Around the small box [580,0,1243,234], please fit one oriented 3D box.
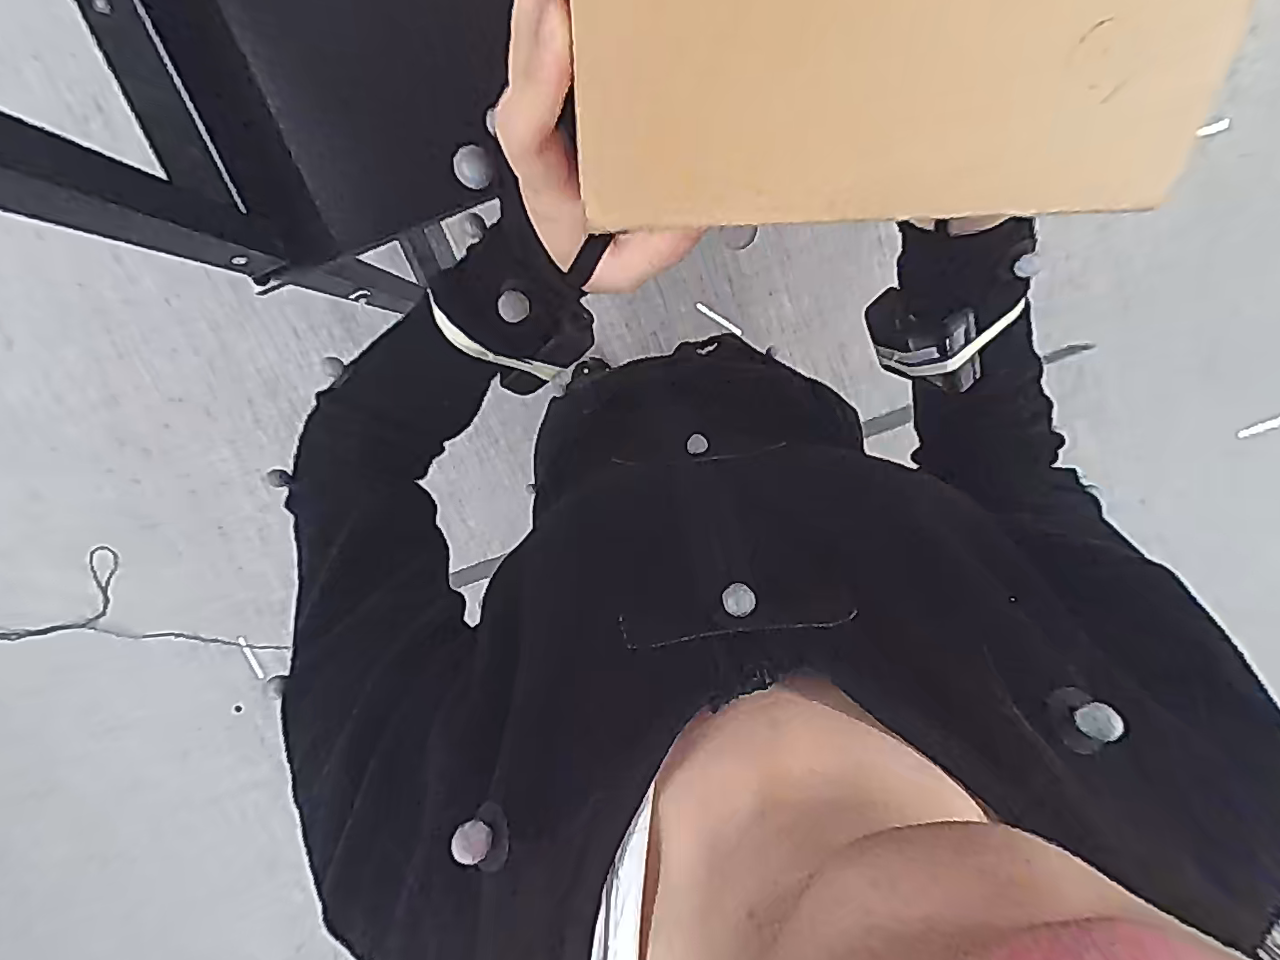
[{"bbox_3d":[0.062,-0.189,0.183,0.168,0.176,0.179,-4,119,-3],"label":"small box"}]
